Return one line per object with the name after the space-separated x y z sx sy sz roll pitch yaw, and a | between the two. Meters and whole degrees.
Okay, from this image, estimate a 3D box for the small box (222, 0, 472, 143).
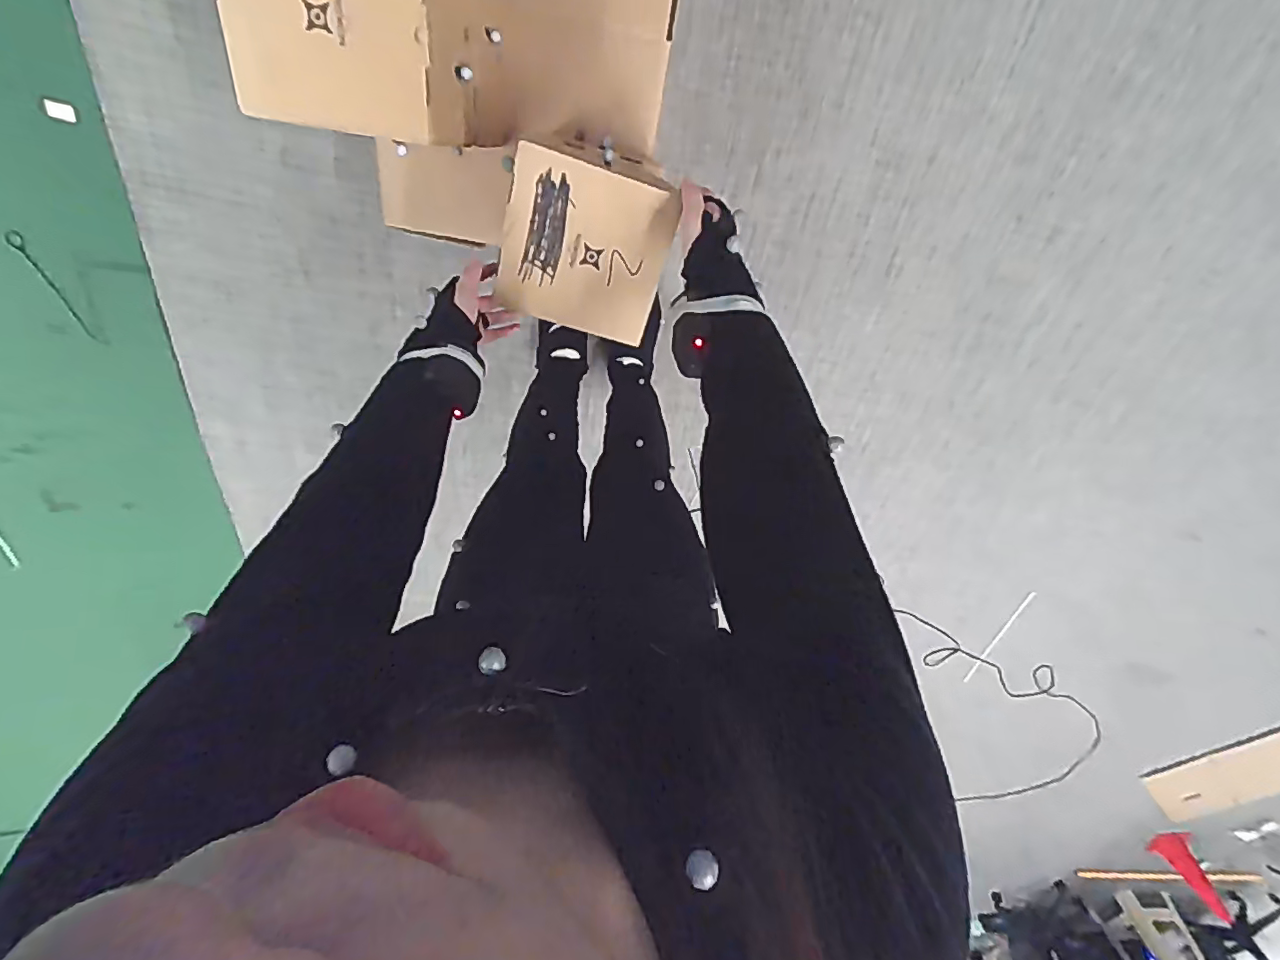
-0.276 -0.445 0.539 0.179 0.176 0.168 6 121 -6 | small box

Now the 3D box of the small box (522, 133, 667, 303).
-0.069 -0.379 0.780 0.168 0.176 0.179 10 121 -9 | small box

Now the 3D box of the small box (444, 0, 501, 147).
-0.275 -0.528 0.679 0.179 0.176 0.168 5 121 -5 | small box
